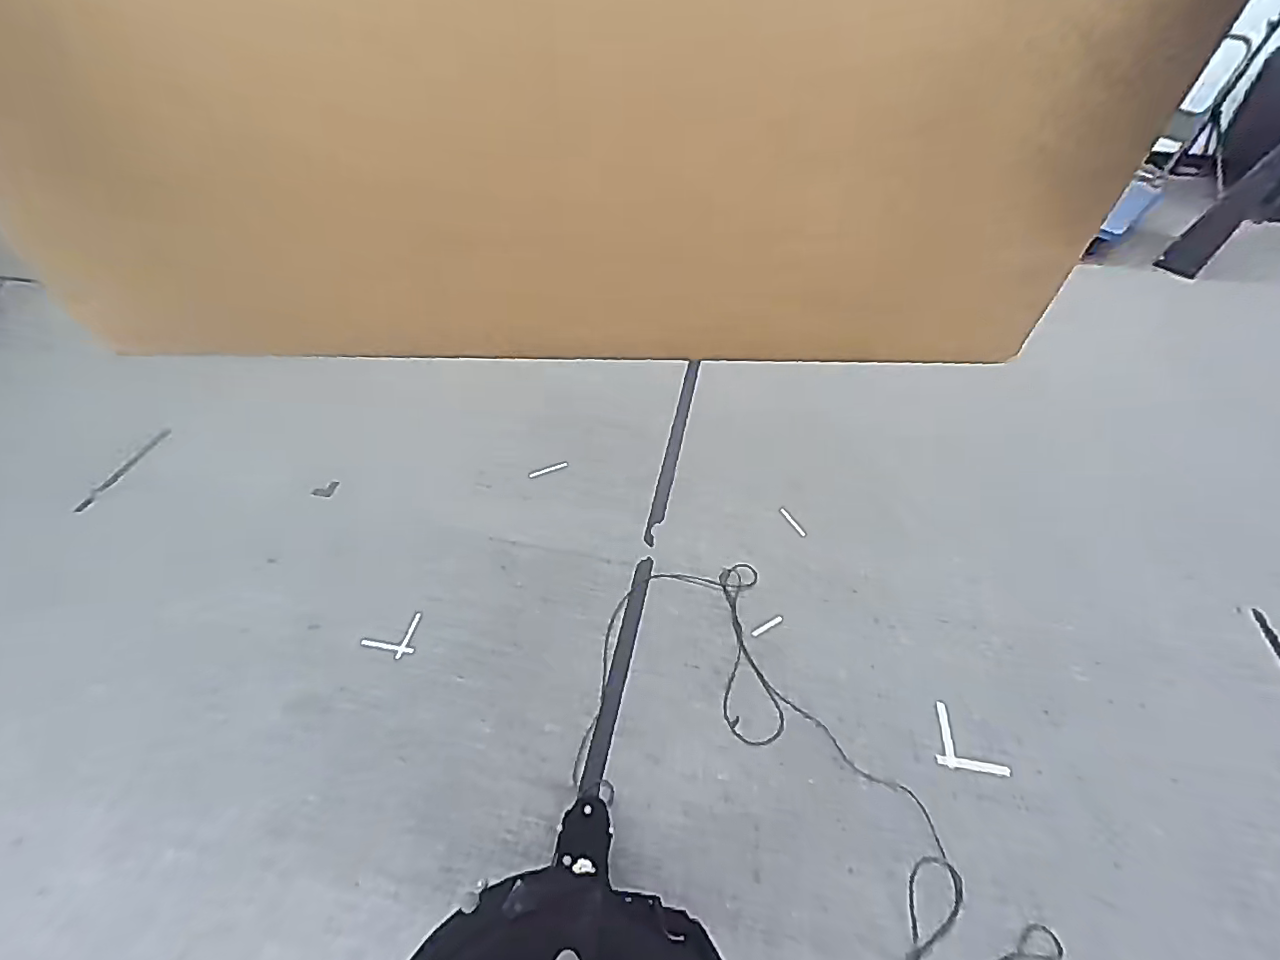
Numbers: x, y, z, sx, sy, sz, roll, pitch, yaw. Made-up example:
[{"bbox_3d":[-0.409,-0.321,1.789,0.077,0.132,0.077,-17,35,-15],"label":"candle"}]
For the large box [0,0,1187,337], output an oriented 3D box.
[{"bbox_3d":[-0.030,-0.276,0.234,0.408,0.320,0.320,1,49,-3],"label":"large box"}]
